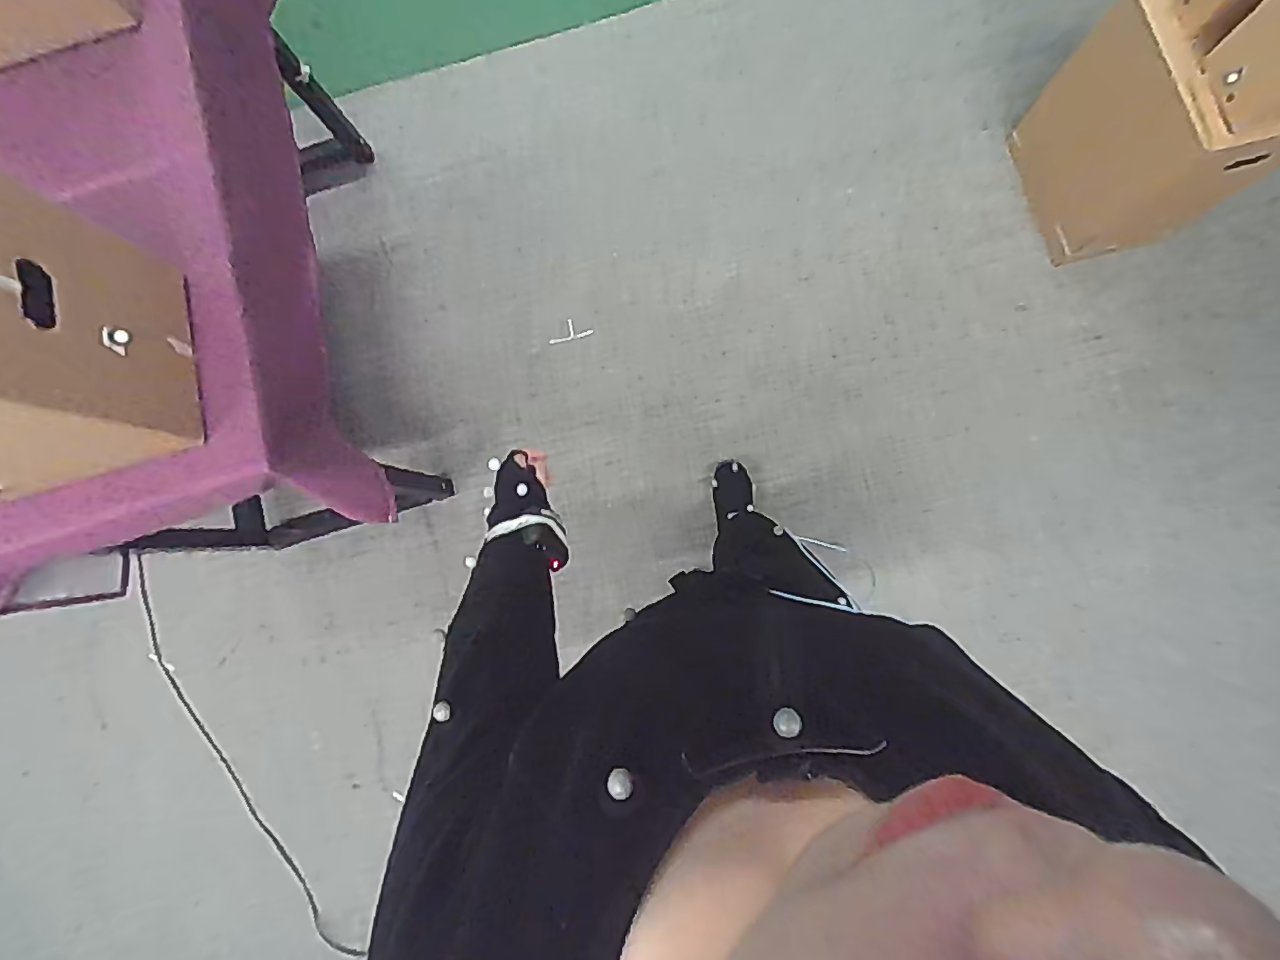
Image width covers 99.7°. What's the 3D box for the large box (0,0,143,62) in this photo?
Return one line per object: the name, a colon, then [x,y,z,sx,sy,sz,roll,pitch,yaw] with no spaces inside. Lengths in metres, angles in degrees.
large box: [-1.131,-0.944,0.857,0.408,0.320,0.320,-13,83,2]
